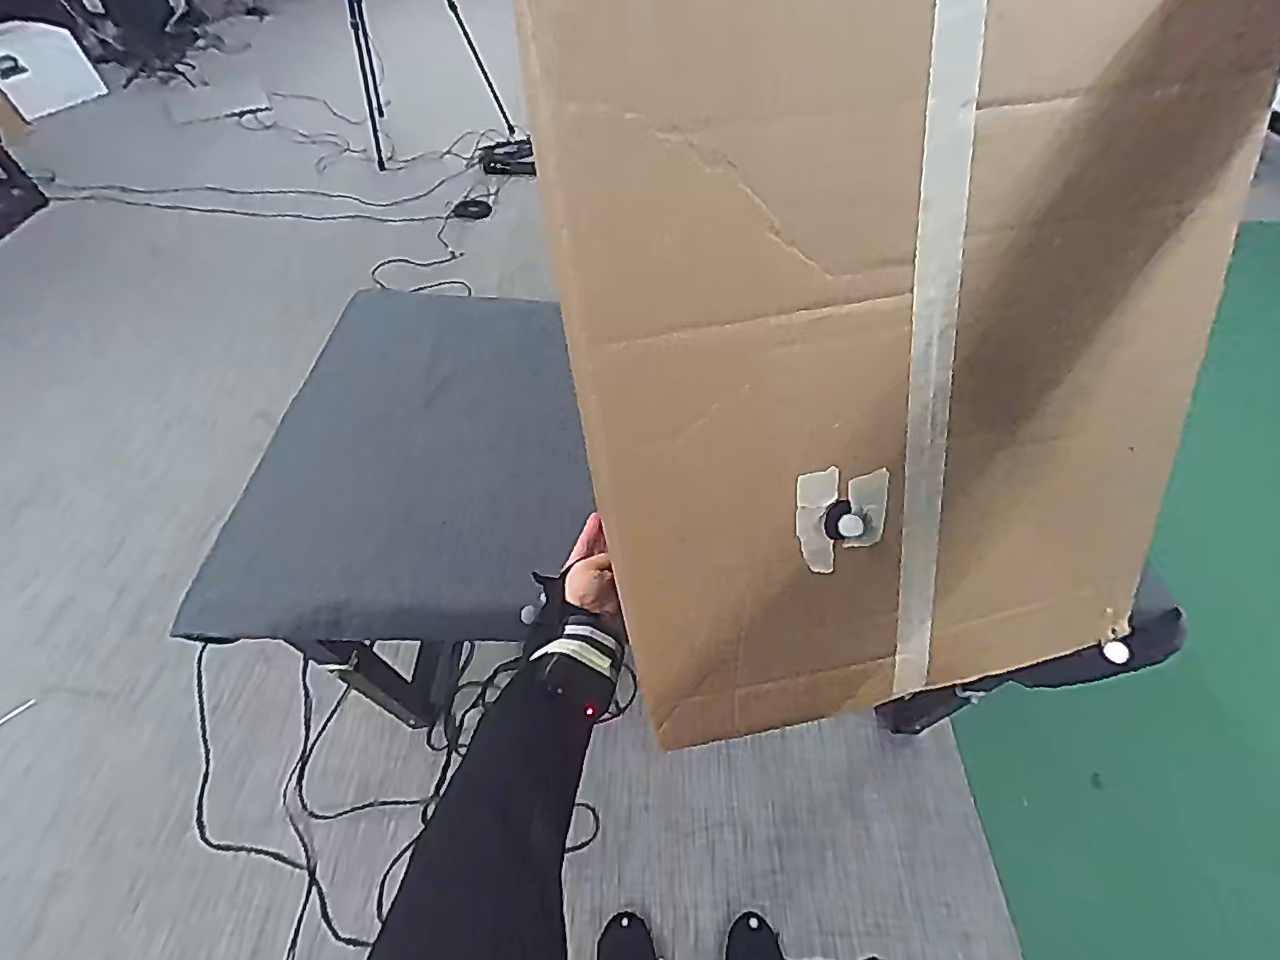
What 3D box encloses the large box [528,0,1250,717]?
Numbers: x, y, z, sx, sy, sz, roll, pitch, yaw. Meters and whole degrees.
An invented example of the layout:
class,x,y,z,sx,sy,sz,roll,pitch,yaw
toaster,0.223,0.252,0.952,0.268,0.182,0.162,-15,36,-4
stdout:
class,x,y,z,sx,sy,sz,roll,pitch,yaw
large box,0.112,-0.115,0.411,0.320,0.408,0.320,-11,25,-5
